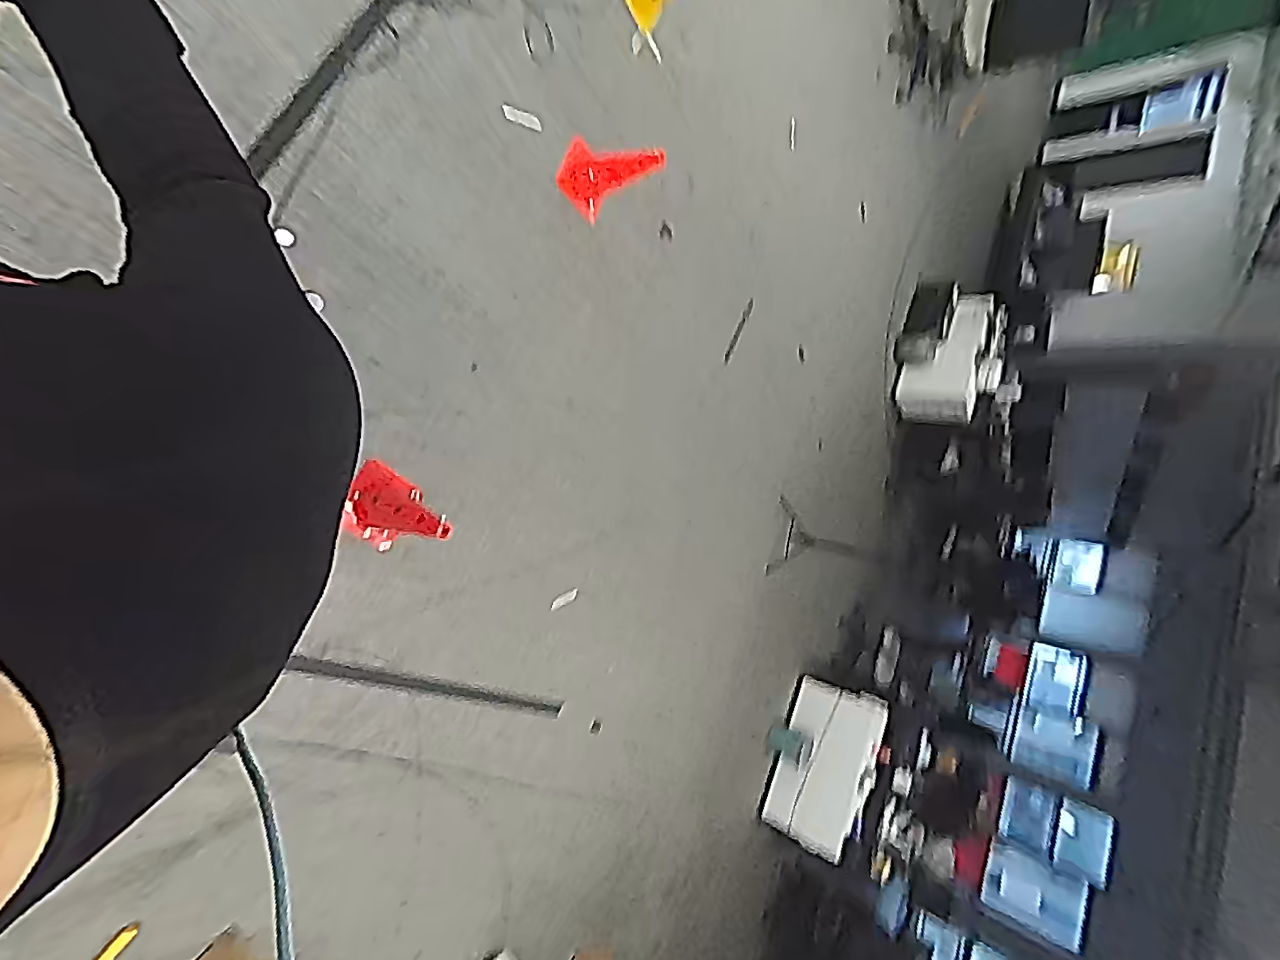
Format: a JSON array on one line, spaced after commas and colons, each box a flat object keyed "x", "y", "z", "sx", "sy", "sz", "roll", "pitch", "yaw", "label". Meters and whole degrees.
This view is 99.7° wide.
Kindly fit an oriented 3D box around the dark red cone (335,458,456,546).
[{"x": -0.590, "y": 0.089, "z": 1.392, "sx": 0.201, "sy": 0.394, "sz": 0.202, "roll": 46, "pitch": 64, "yaw": -44, "label": "dark red cone"}]

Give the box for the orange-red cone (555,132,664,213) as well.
[{"x": -0.073, "y": -1.042, "z": 1.774, "sx": 0.198, "sy": 0.360, "sz": 0.199, "roll": 36, "pitch": 70, "yaw": -49, "label": "orange-red cone"}]

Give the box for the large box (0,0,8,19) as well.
[{"x": -0.625, "y": -0.353, "z": 0.205, "sx": 0.408, "sy": 0.320, "sz": 0.320, "roll": -41, "pitch": 133, "yaw": -39, "label": "large box"}]
